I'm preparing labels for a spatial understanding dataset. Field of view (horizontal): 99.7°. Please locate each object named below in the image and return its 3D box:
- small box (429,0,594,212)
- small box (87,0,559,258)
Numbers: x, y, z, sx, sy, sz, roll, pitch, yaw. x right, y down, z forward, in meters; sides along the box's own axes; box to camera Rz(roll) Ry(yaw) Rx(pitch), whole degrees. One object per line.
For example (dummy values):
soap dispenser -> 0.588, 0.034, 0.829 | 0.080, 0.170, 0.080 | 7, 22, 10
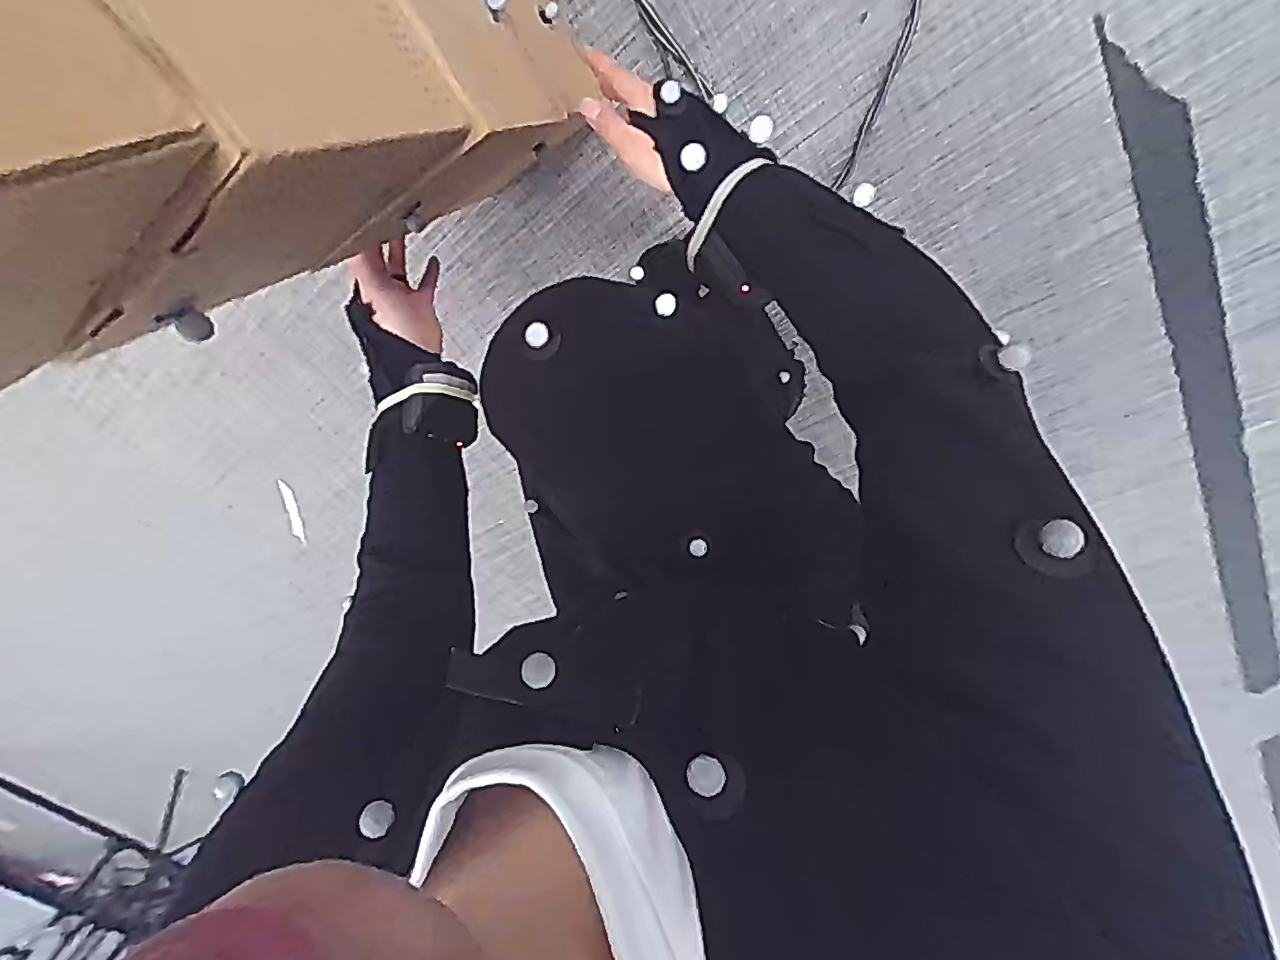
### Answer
small box -> -0.158, -0.378, 0.491 | 0.179, 0.176, 0.168 | -20, 118, 25
small box -> -0.182, -0.281, 0.362 | 0.179, 0.176, 0.168 | -20, 119, 24
